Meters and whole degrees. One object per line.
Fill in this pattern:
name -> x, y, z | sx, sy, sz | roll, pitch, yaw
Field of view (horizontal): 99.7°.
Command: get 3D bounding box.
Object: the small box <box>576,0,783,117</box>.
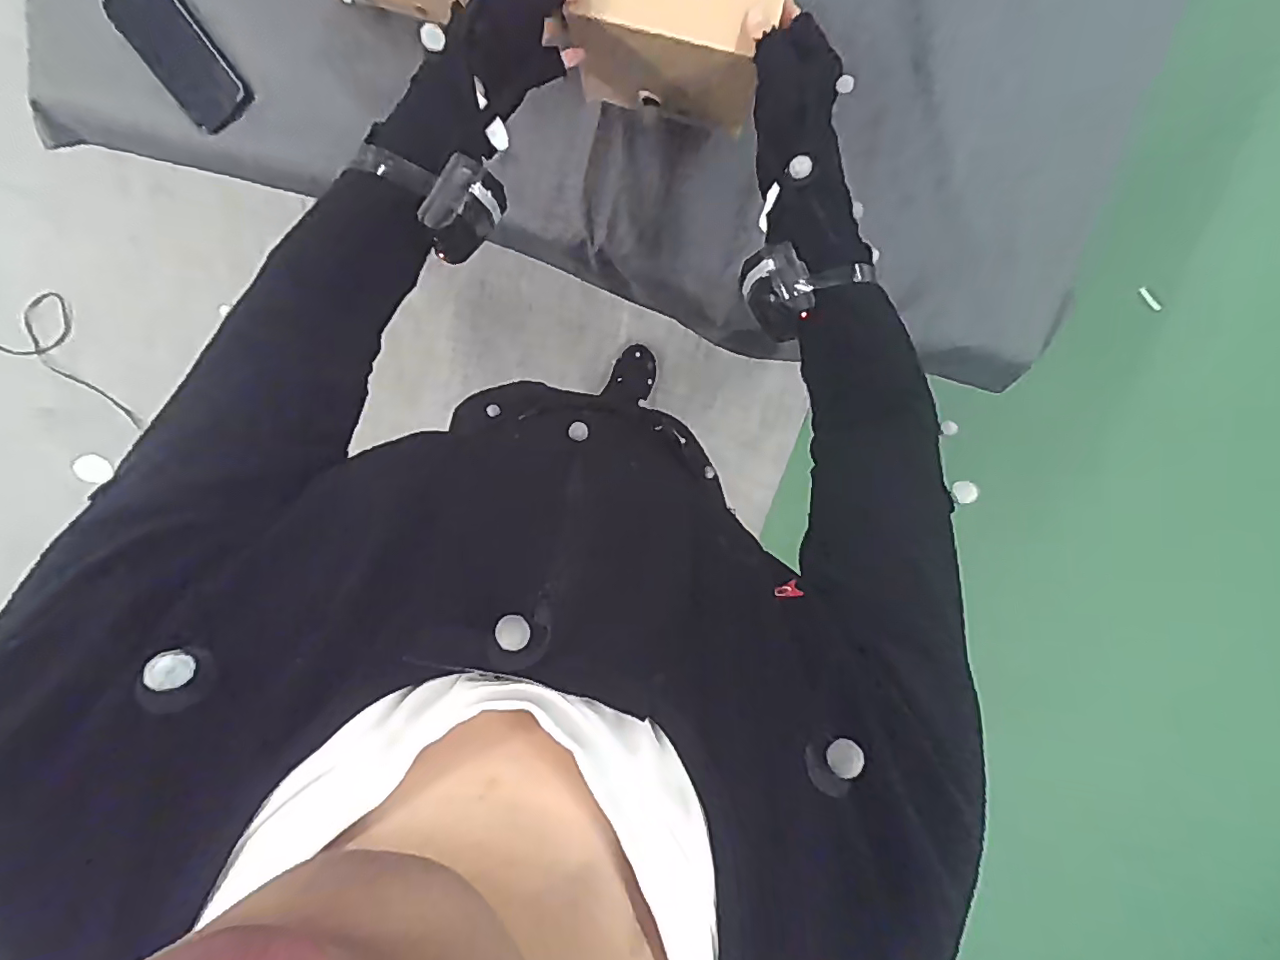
small box -> 0.042, -0.455, 0.467 | 0.168, 0.176, 0.179 | 12, 107, -2

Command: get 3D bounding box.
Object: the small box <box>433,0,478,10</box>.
small box -> -0.231, -0.568, 0.472 | 0.168, 0.176, 0.179 | 13, 106, -3
